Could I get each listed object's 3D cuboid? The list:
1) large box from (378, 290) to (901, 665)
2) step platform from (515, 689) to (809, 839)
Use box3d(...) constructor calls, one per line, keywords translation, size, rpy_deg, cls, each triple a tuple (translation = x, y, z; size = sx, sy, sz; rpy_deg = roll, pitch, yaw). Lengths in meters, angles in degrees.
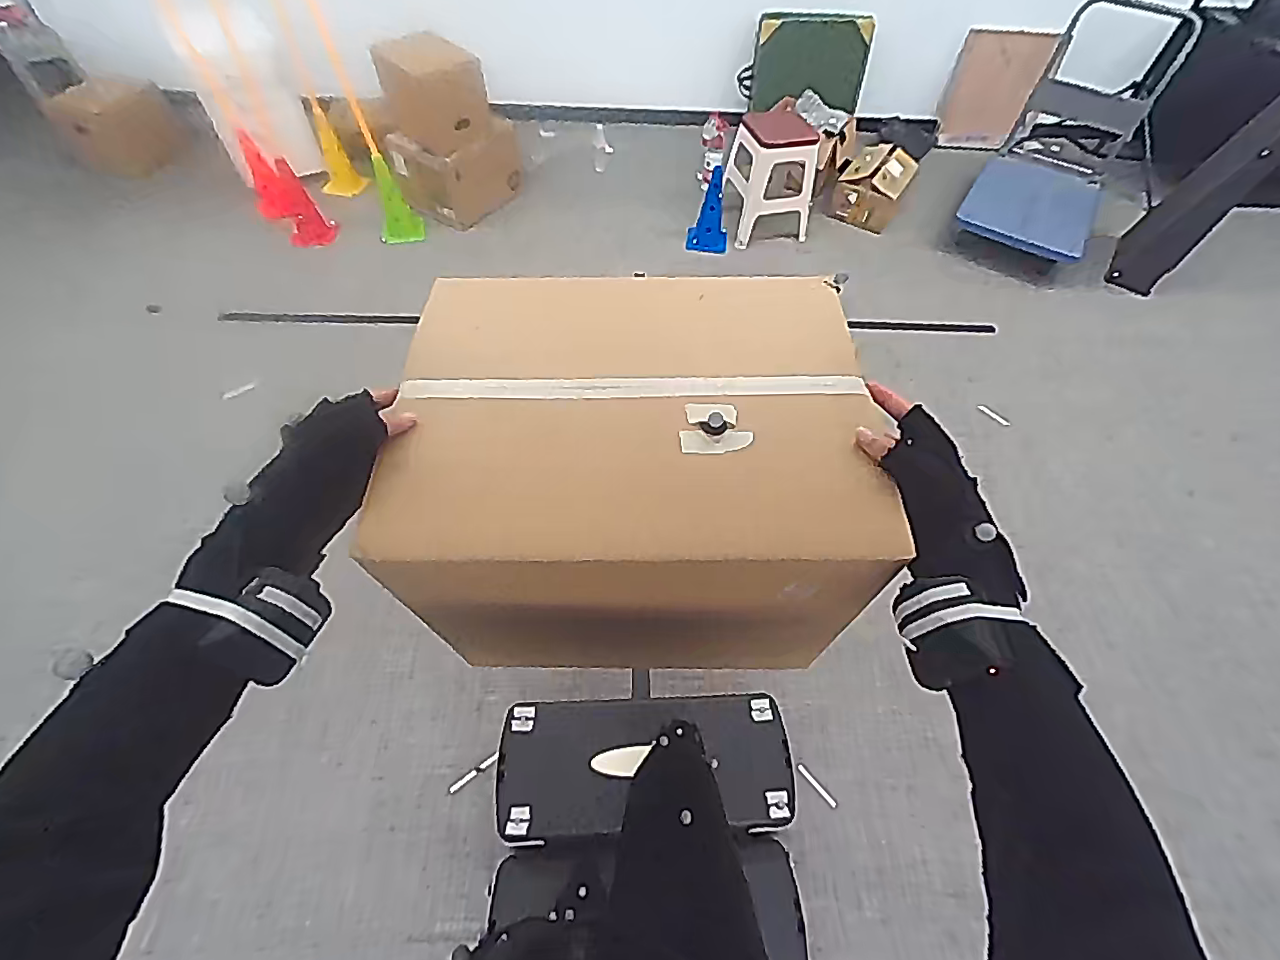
box3d(translation=(-0.003, 0.010, 0.609), size=(0.408, 0.320, 0.320), rpy_deg=(0, 58, 0), cls="large box")
box3d(translation=(0.048, 0.678, 1.305), size=(0.684, 0.204, 0.286), rpy_deg=(-1, 56, -5), cls="step platform")
